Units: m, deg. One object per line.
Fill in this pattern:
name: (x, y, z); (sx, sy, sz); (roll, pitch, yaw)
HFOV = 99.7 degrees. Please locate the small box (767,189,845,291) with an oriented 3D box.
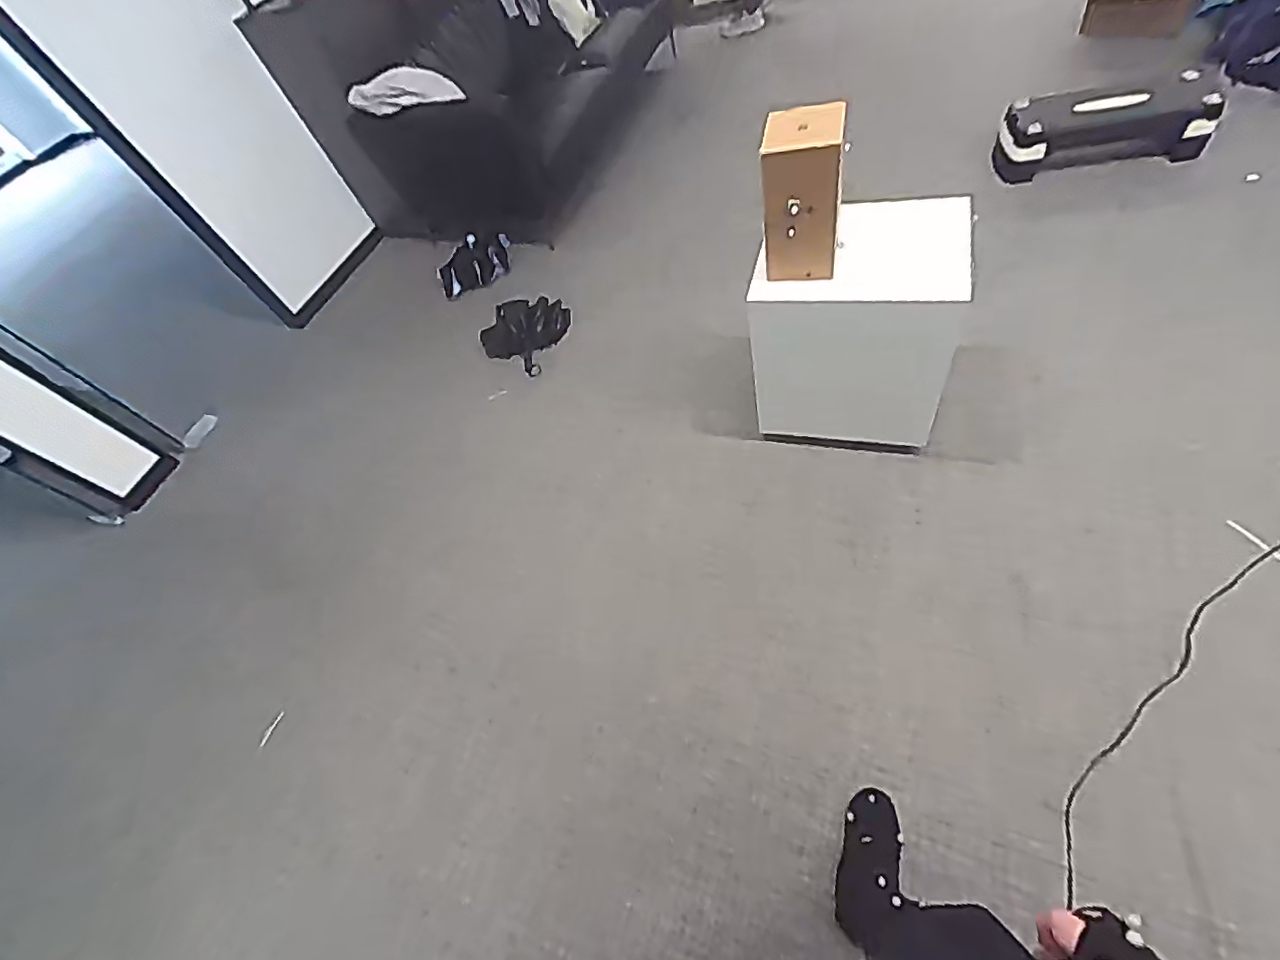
small box: (0.416, -0.601, 1.360); (0.168, 0.176, 0.179); (5, 57, 20)

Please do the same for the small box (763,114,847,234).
small box: (0.376, -0.690, 1.229); (0.168, 0.176, 0.179); (3, 58, 19)
